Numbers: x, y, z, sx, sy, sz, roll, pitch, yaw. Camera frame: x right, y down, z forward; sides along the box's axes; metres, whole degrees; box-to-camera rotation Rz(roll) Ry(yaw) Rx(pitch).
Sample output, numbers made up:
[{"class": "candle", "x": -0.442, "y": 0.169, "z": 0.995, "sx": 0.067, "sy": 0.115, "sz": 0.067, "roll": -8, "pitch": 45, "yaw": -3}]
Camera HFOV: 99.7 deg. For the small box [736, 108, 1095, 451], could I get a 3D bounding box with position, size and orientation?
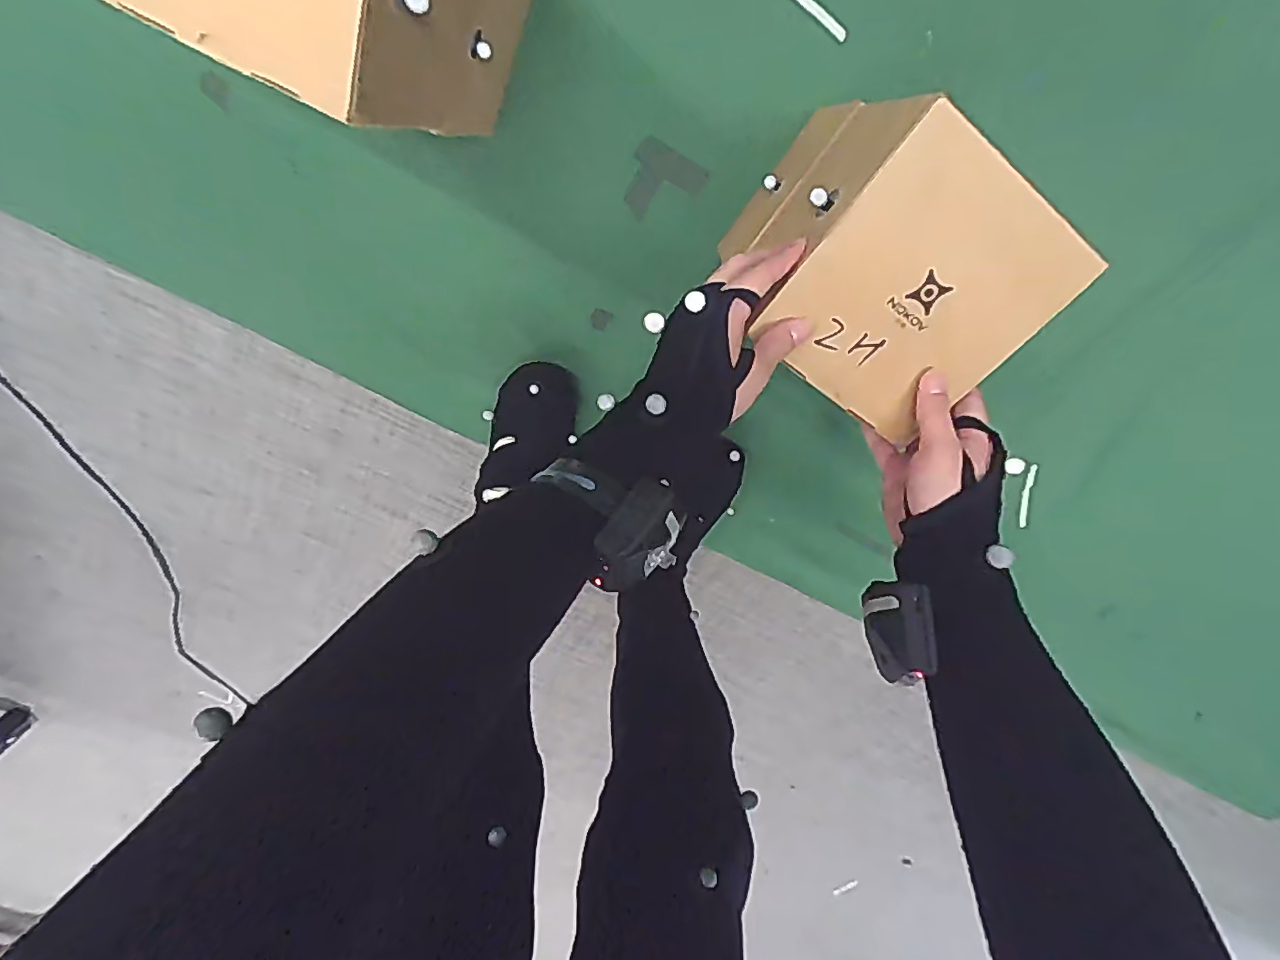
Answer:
[{"class": "small box", "x": 0.195, "y": -0.164, "z": 0.444, "sx": 0.168, "sy": 0.176, "sz": 0.179, "roll": 32, "pitch": 120, "yaw": -16}]
